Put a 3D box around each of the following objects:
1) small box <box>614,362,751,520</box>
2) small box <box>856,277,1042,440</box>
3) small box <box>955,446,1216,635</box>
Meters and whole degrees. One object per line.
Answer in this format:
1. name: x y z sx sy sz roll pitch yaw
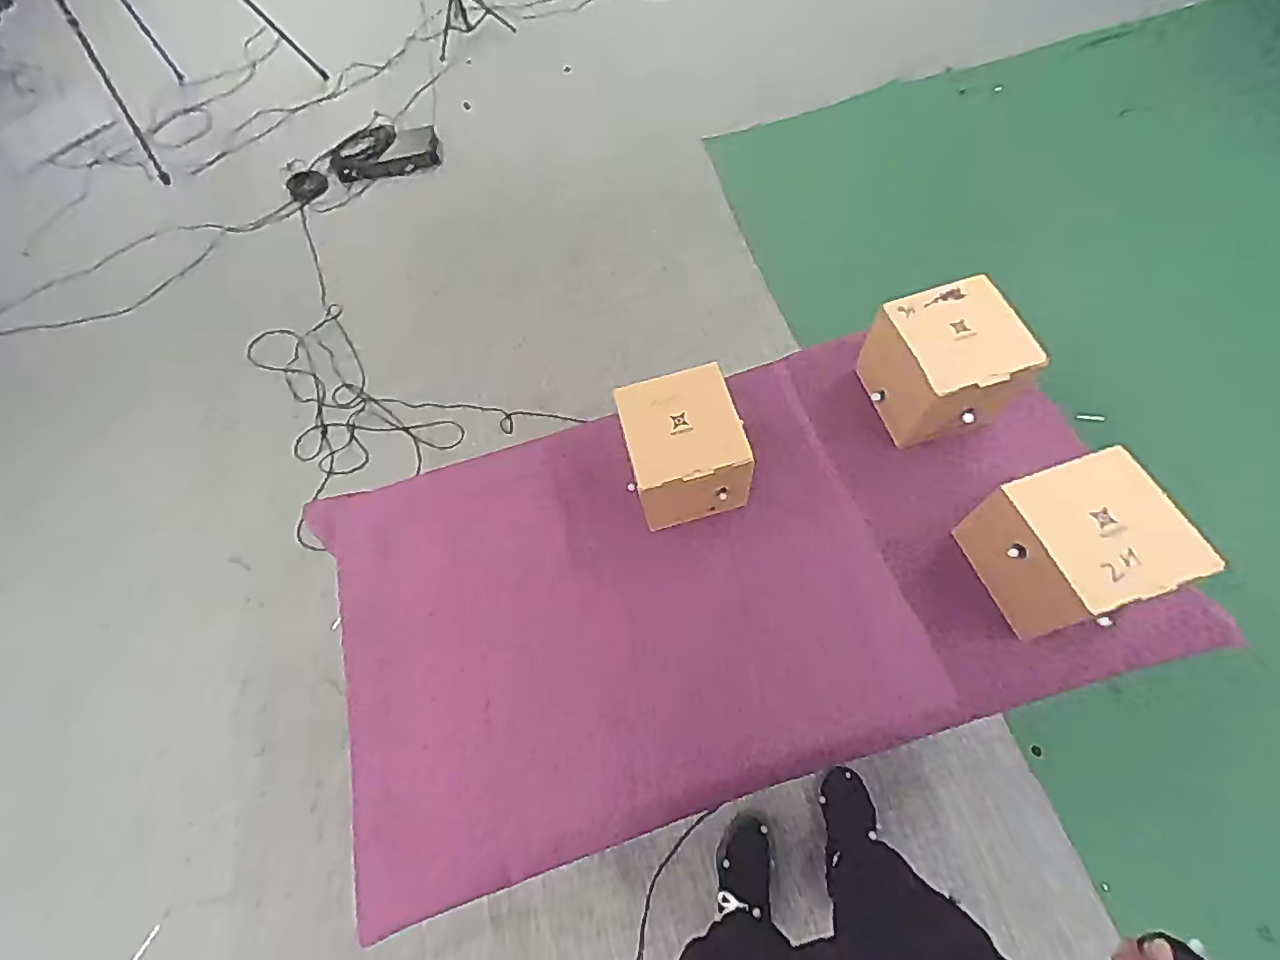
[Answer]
1. small box: 0.066 -0.050 0.849 0.168 0.176 0.179 -15 64 -1
2. small box: 0.472 -0.180 0.860 0.168 0.176 0.179 -16 67 -1
3. small box: 0.563 0.087 0.720 0.168 0.176 0.179 -18 64 0
